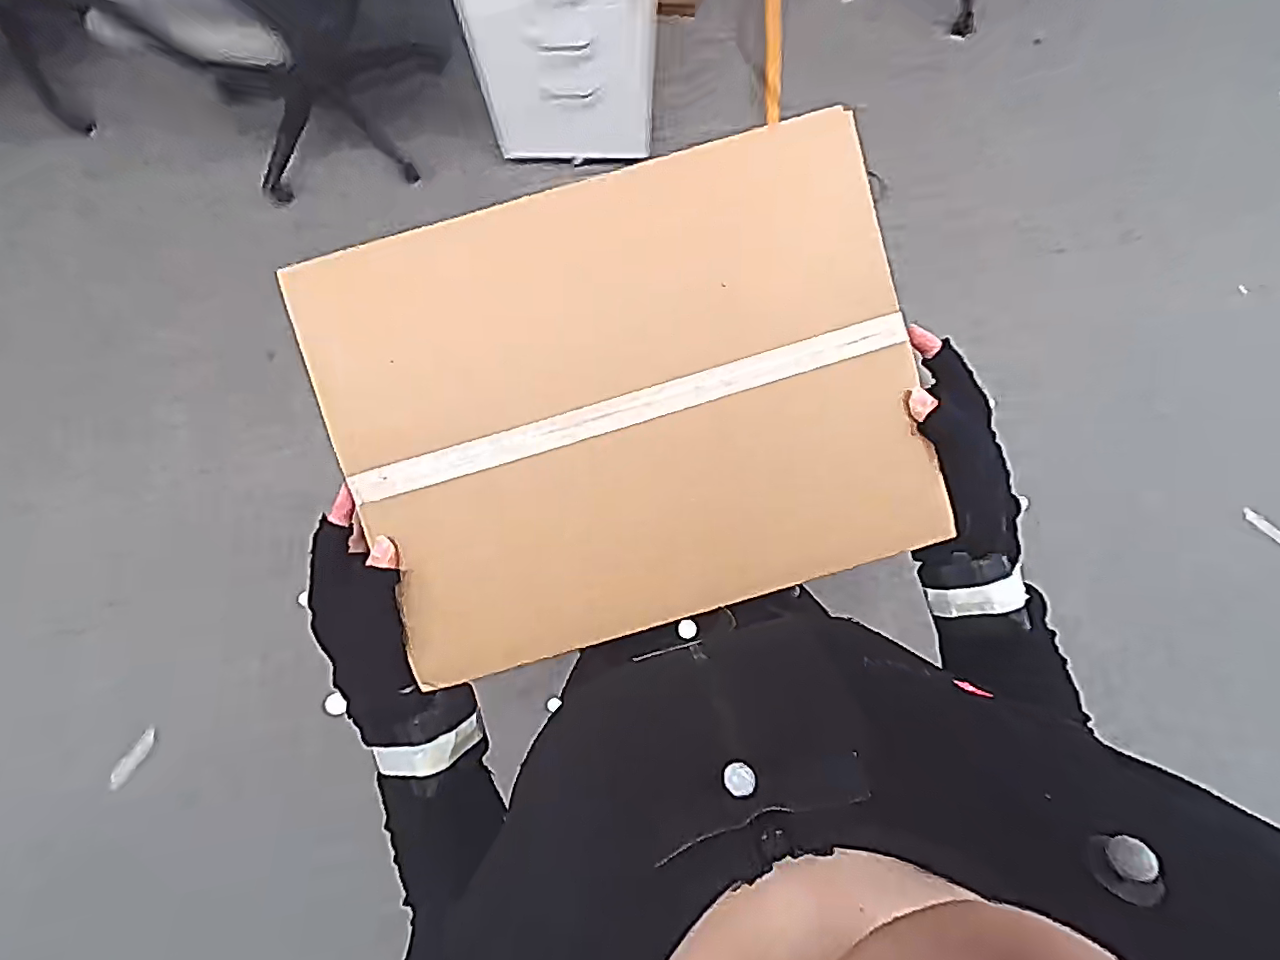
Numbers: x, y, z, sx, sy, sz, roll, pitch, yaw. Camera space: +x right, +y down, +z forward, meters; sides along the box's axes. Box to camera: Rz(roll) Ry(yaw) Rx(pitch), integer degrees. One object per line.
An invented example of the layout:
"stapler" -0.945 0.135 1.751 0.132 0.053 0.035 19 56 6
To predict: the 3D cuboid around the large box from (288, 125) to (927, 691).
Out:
"large box" -0.019 -0.060 0.540 0.408 0.320 0.320 -18 94 0
